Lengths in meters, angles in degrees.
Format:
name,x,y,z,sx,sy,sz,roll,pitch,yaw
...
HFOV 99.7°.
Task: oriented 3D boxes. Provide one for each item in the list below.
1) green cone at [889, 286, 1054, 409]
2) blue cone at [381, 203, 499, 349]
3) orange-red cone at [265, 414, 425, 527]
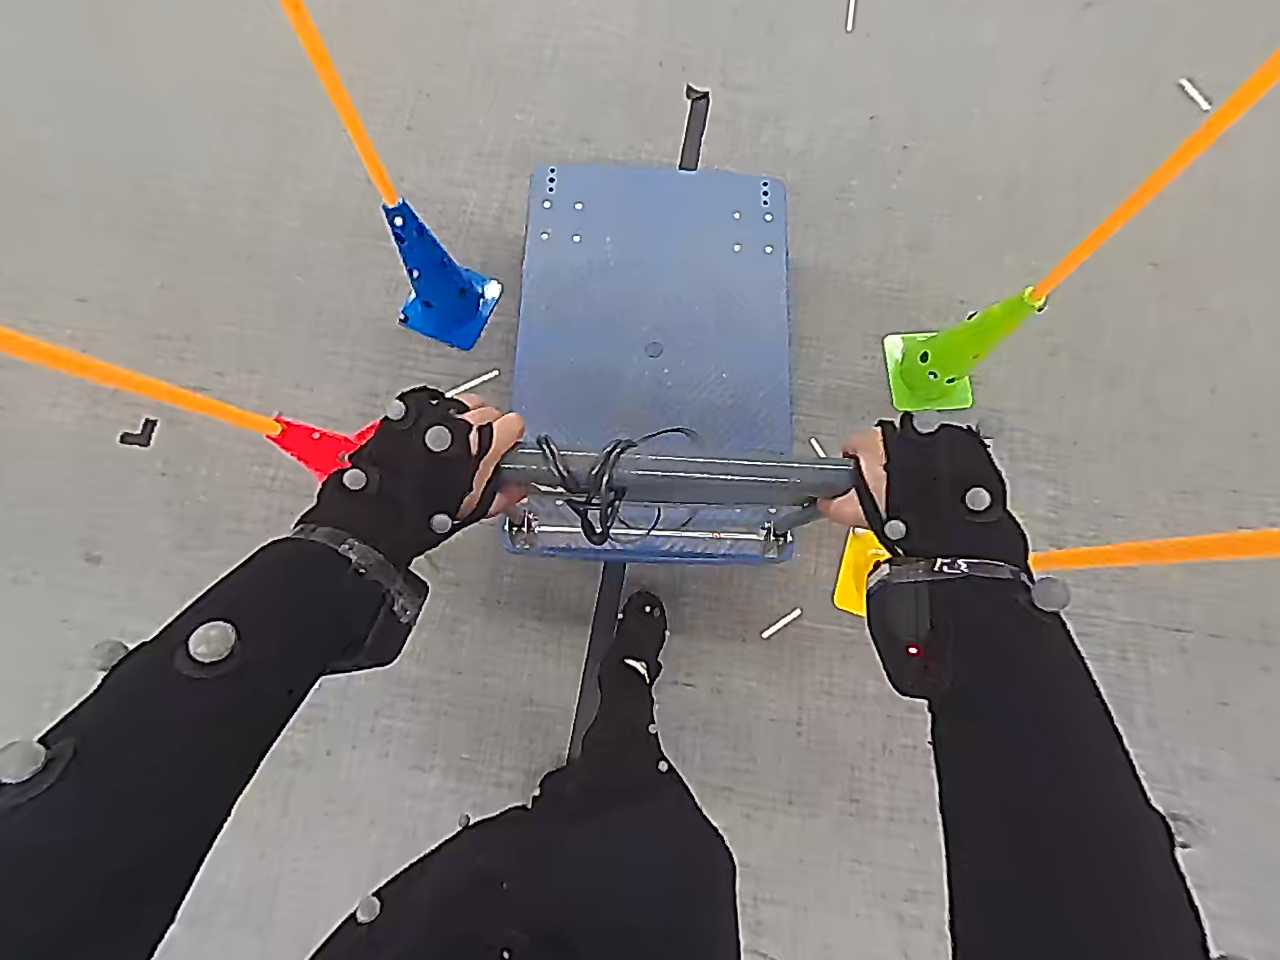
name,x,y,z,sx,sy,sz,roll,pitch,yaw
green cone,0.719,-0.305,1.152,0.200,0.368,0.202,-4,79,-3
blue cone,-0.452,-0.459,1.159,0.193,0.380,0.192,24,79,3
orange-red cone,-0.602,-0.055,1.052,0.199,0.360,0.198,-34,82,-10
